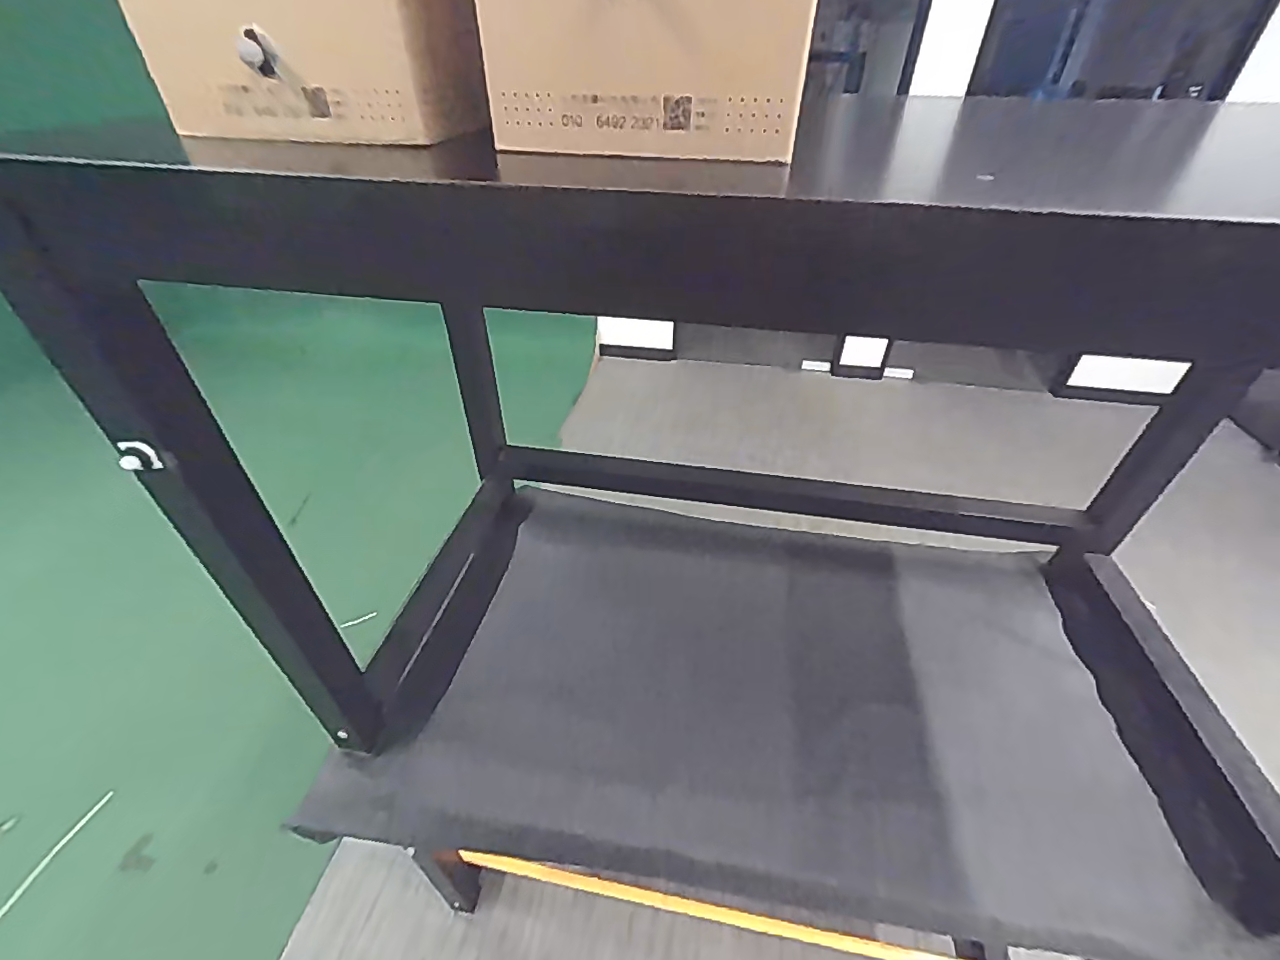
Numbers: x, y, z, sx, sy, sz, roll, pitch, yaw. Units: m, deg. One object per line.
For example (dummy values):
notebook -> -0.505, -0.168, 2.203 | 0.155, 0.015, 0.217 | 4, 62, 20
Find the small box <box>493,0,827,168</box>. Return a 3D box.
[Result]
small box -> 0.021, -0.286, 0.305 | 0.168, 0.176, 0.179 | 8, 39, 8
